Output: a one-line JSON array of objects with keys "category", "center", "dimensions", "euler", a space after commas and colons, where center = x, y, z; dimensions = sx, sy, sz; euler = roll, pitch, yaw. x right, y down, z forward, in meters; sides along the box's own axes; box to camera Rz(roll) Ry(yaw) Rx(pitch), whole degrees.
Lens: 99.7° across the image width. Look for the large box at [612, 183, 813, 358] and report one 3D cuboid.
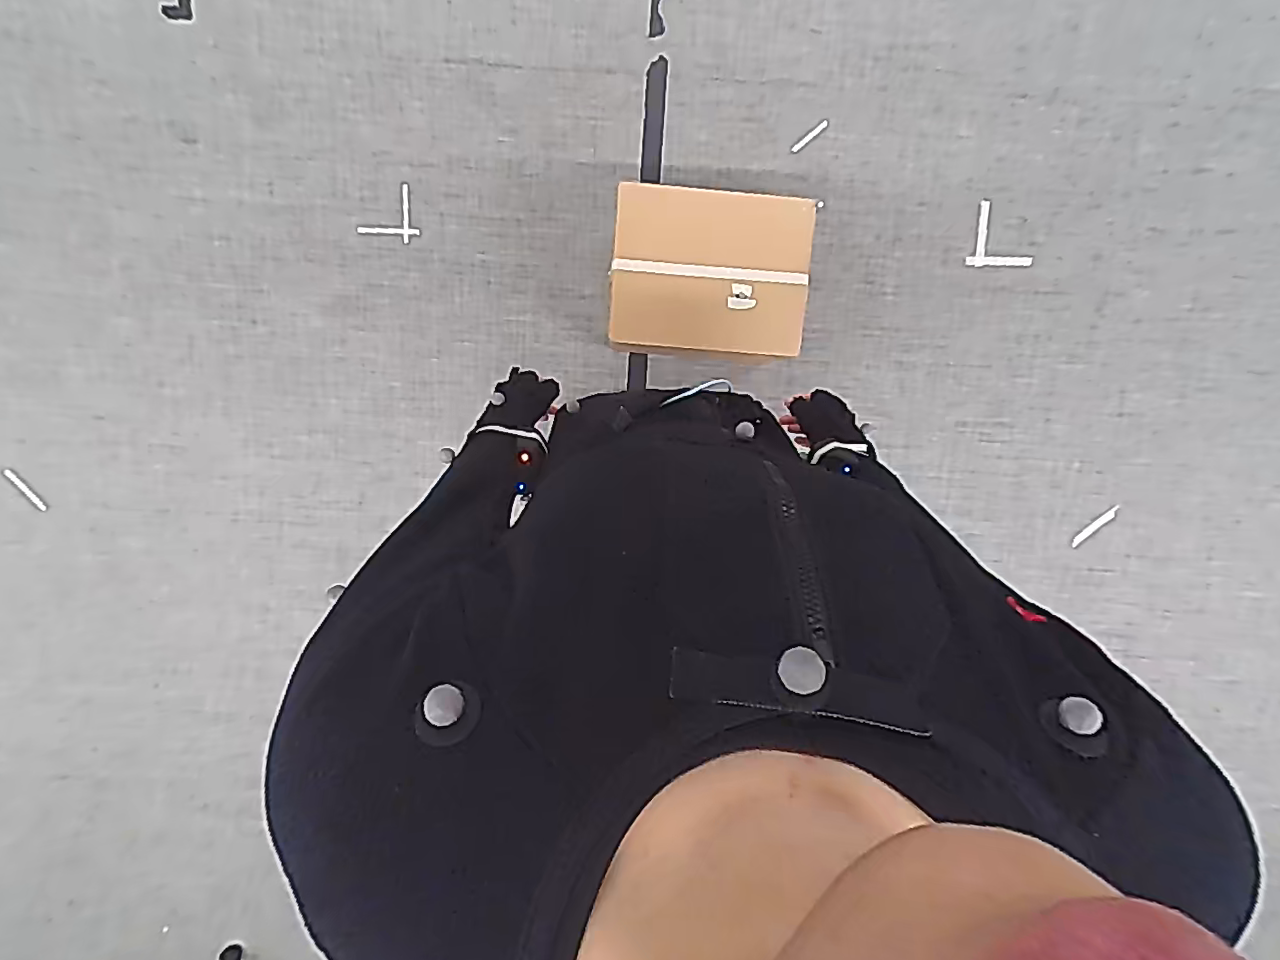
[{"category": "large box", "center": [0.141, -0.462, 1.269], "dimensions": [0.408, 0.320, 0.320], "euler": [4, 101, -3]}]
